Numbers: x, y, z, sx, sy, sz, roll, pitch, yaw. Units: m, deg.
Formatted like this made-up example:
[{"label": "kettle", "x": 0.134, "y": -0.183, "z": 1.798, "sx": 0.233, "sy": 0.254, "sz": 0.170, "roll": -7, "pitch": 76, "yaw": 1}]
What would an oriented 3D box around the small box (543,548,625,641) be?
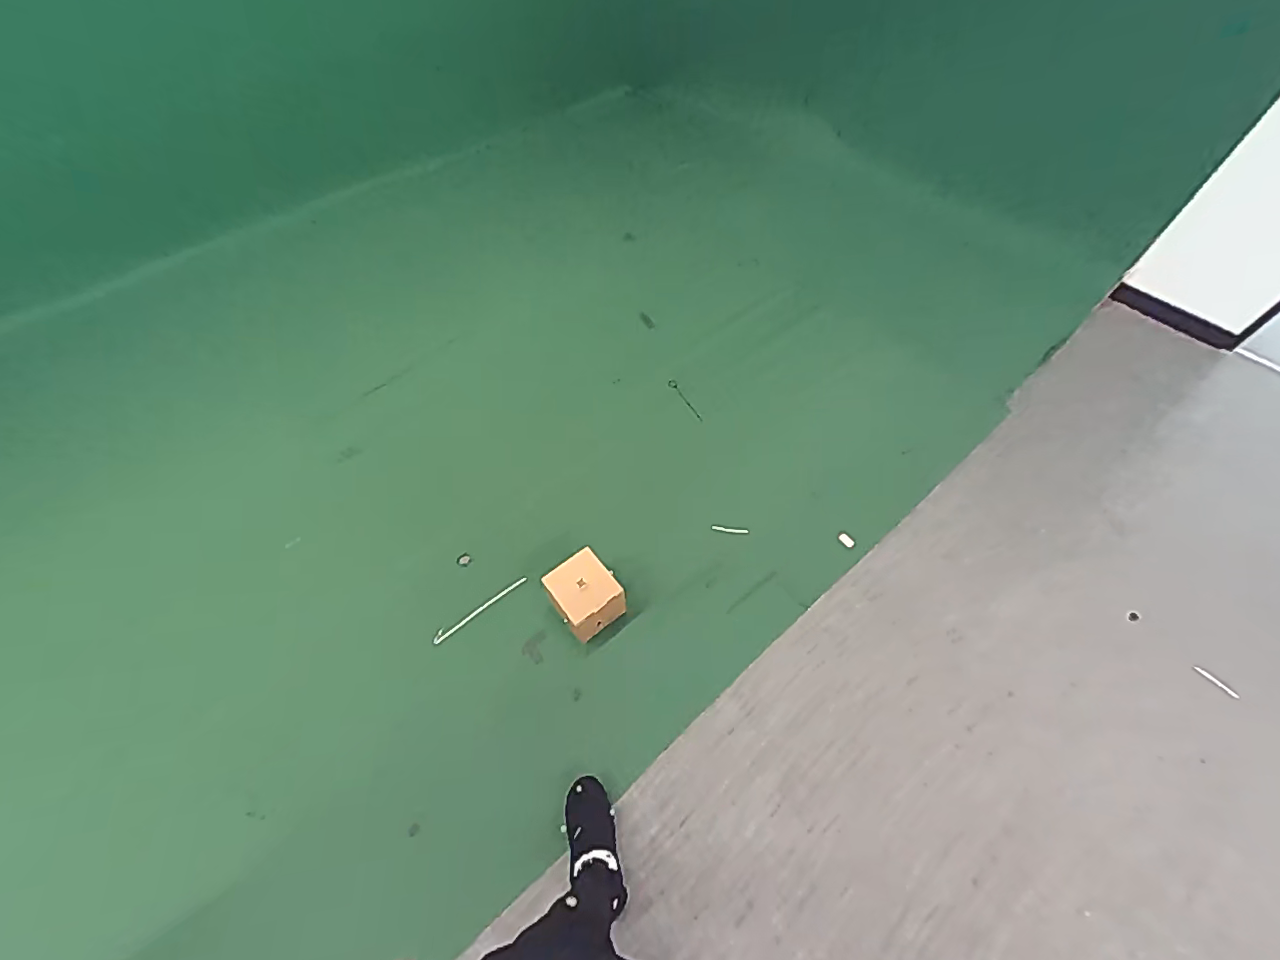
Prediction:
[{"label": "small box", "x": -0.159, "y": 0.336, "z": 1.570, "sx": 0.168, "sy": 0.176, "sz": 0.179, "roll": -35, "pitch": 64, "yaw": -20}]
